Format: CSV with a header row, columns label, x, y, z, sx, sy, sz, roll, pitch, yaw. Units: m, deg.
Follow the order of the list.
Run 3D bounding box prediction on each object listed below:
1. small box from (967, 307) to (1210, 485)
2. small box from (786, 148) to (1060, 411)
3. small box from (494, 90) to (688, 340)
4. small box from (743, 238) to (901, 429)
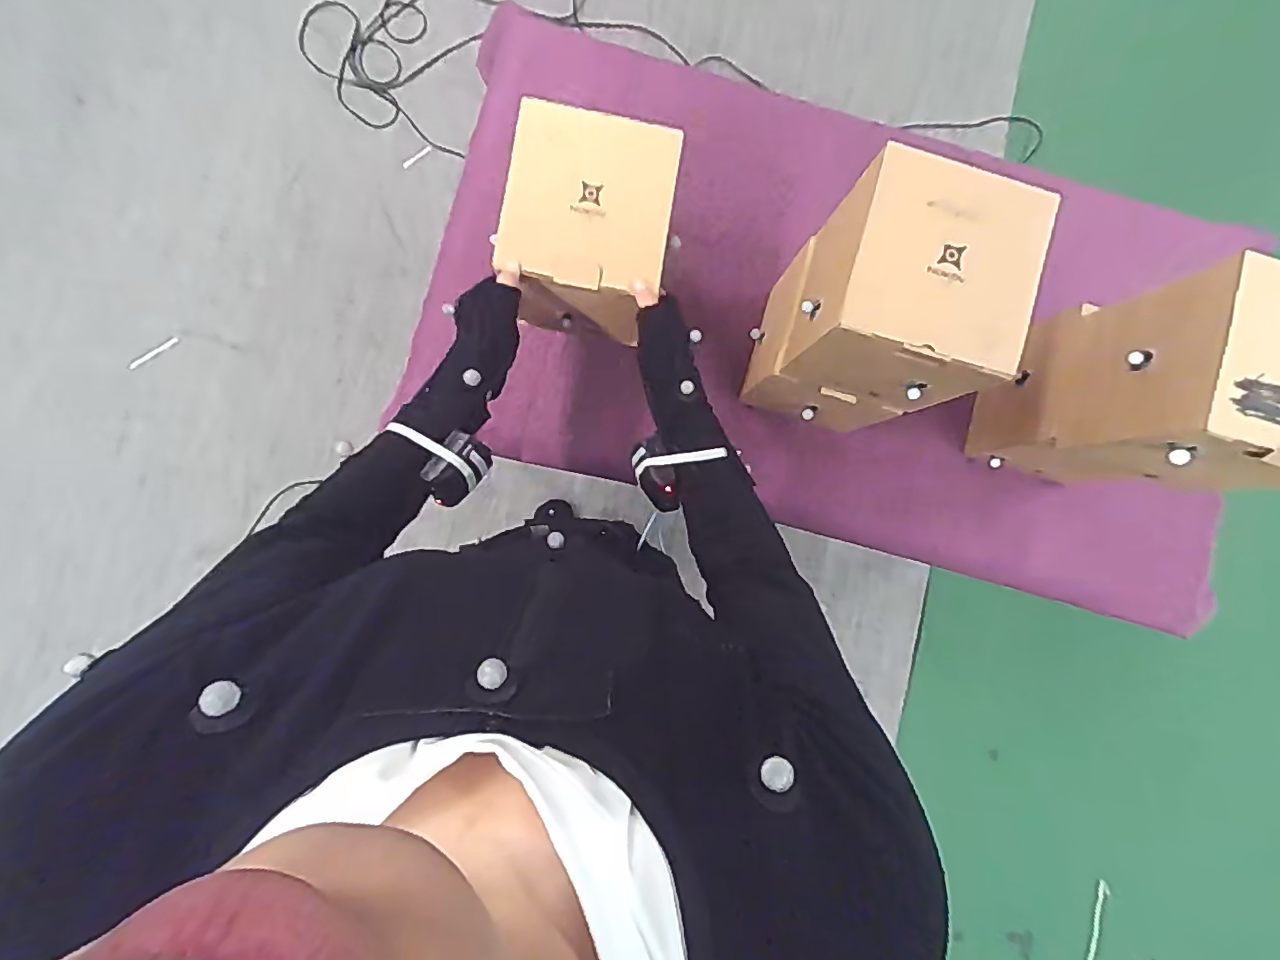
label,x,y,z,sx,sy,sz,roll,pitch,yaw
small box,0.582,-0.099,0.727,0.168,0.176,0.179,18,87,-4
small box,0.266,-0.182,0.550,0.168,0.176,0.179,17,87,-3
small box,-0.054,-0.275,0.603,0.168,0.176,0.179,10,89,-5
small box,0.249,-0.176,0.713,0.168,0.176,0.179,18,87,-3
